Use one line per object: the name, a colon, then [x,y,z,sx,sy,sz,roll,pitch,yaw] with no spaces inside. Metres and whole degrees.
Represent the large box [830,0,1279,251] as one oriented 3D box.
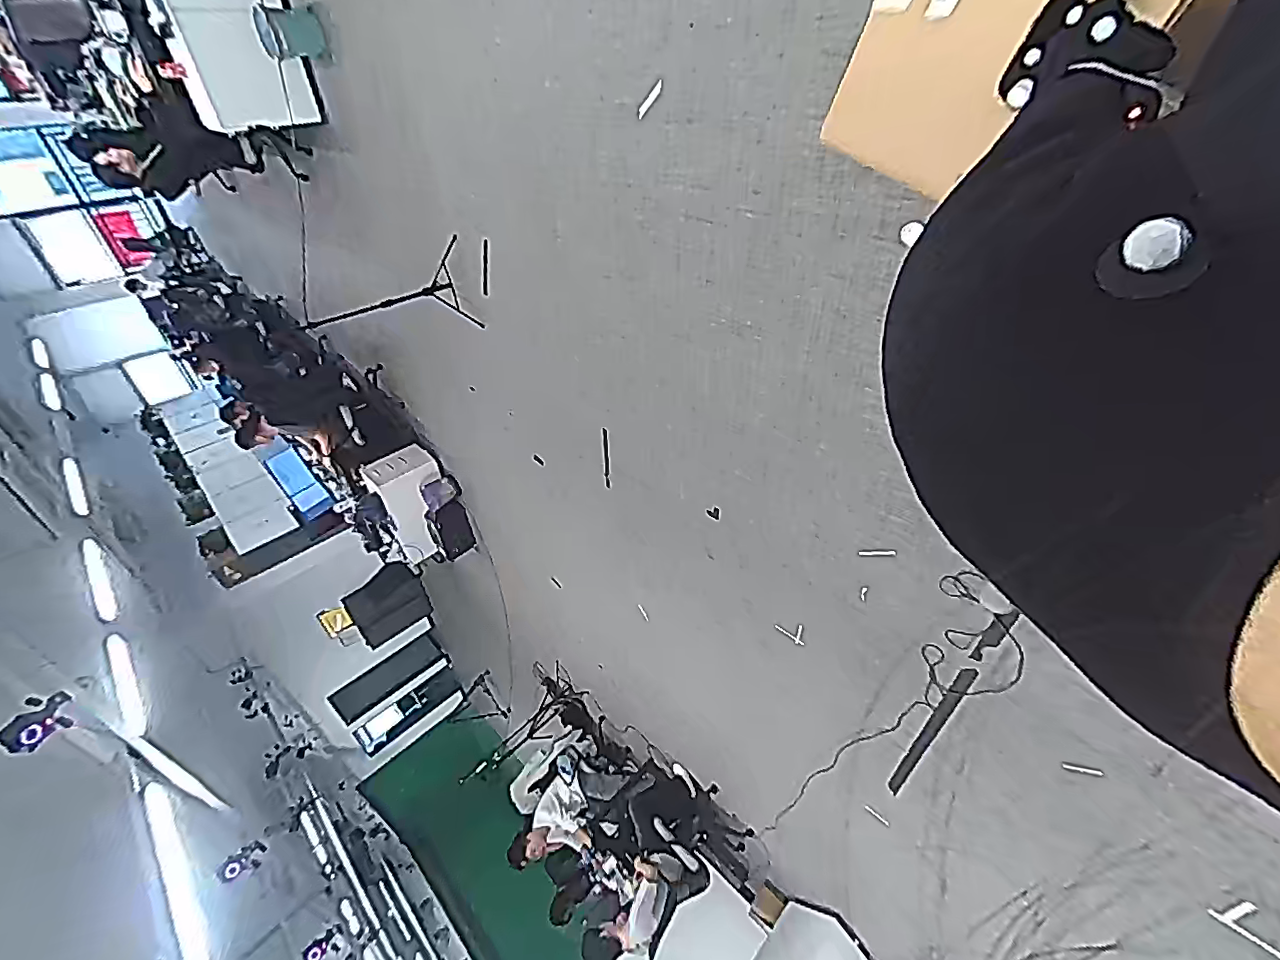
large box: [0.537,-0.523,0.702,0.320,0.408,0.320,52,140,26]
